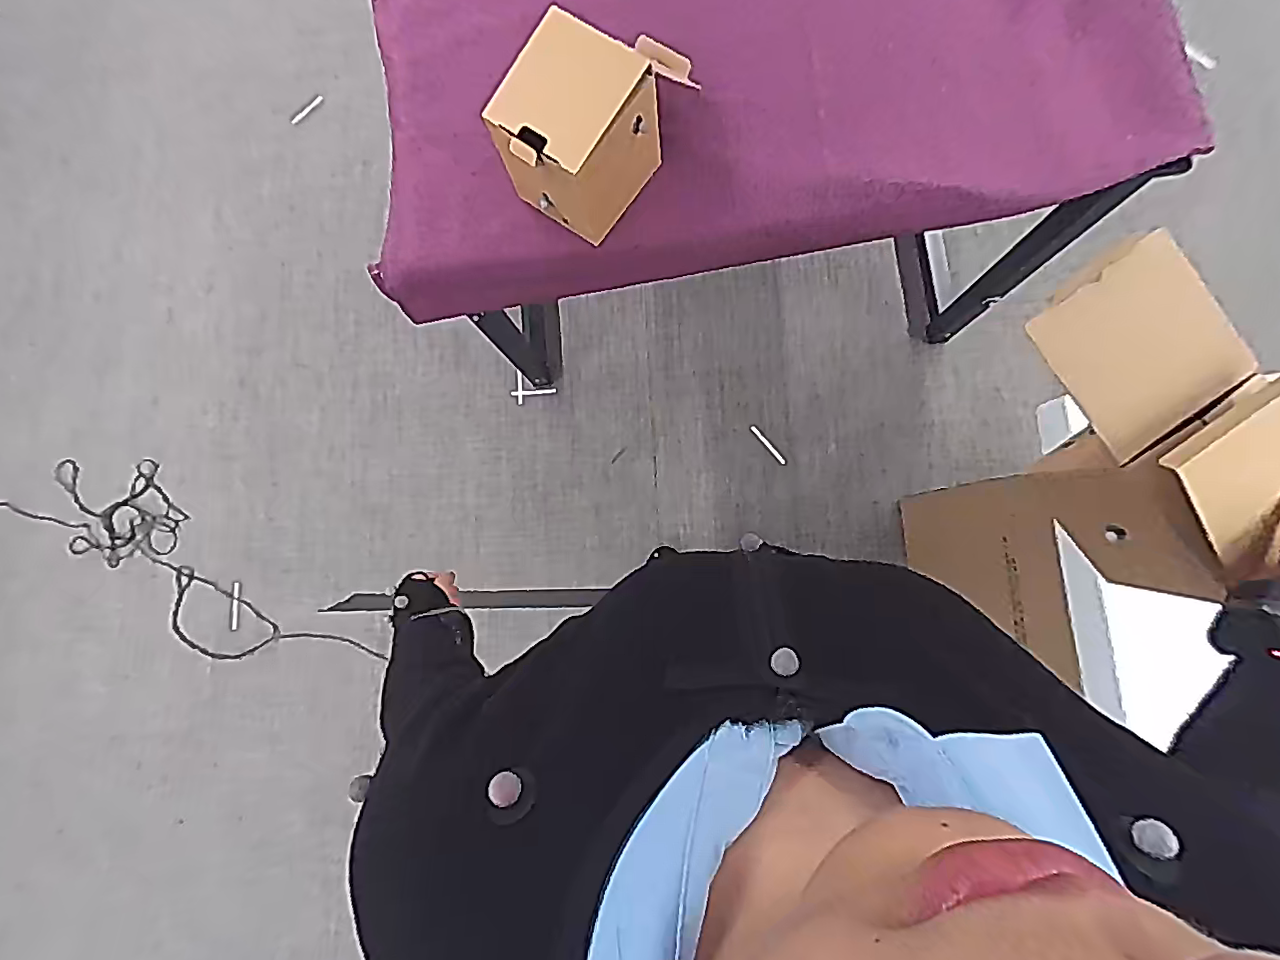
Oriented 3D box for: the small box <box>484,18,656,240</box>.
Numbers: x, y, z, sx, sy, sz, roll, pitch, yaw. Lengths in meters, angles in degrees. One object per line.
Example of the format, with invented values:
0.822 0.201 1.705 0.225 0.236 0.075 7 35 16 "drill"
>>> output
-0.089 -0.501 0.793 0.168 0.176 0.179 36 87 10 "small box"
